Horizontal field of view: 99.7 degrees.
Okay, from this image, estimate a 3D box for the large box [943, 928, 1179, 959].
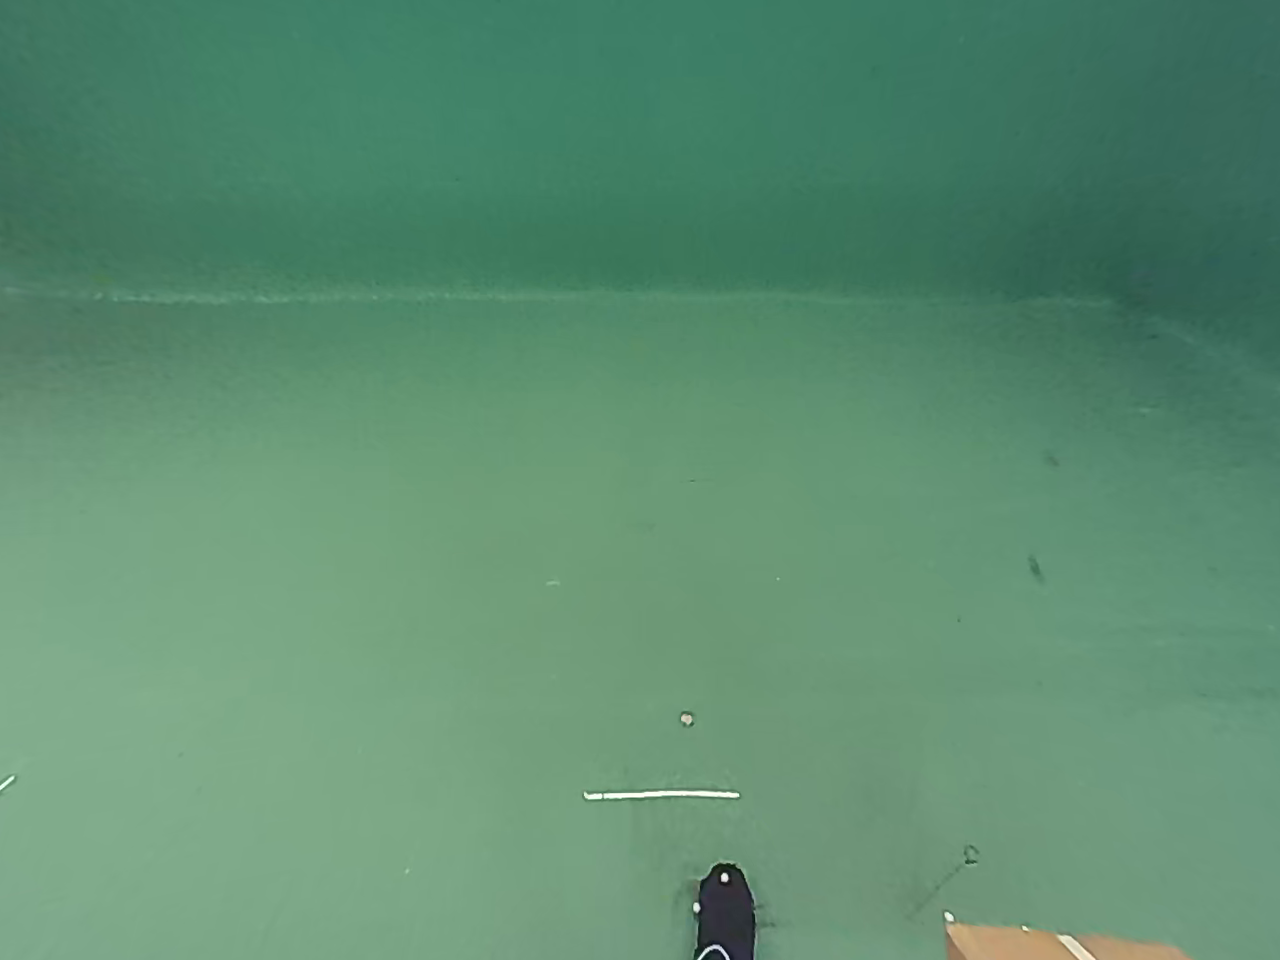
[{"bbox_3d":[0.567,0.771,0.553,0.320,0.408,0.320,2,80,6],"label":"large box"}]
